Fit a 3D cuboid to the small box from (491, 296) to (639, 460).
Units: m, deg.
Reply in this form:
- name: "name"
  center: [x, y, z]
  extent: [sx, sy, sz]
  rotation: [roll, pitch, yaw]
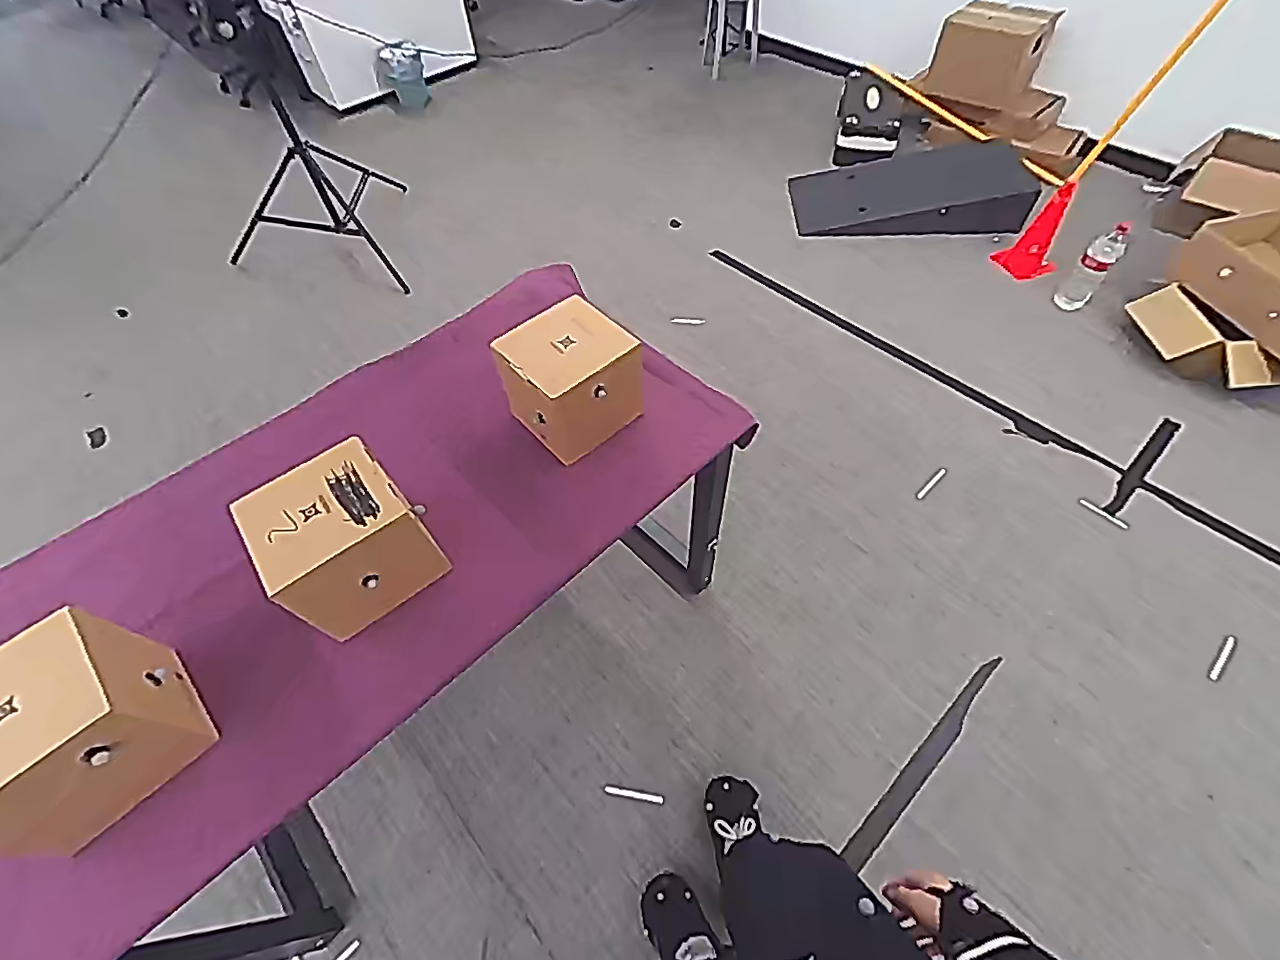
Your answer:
- name: "small box"
  center: [-0.113, -0.164, 0.899]
  extent: [0.179, 0.176, 0.168]
  rotation: [-37, 63, -21]

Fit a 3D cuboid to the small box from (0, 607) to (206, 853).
- name: "small box"
  center: [-0.646, 0.284, 0.615]
  extent: [0.168, 0.176, 0.179]
  rotation: [38, 65, 26]
